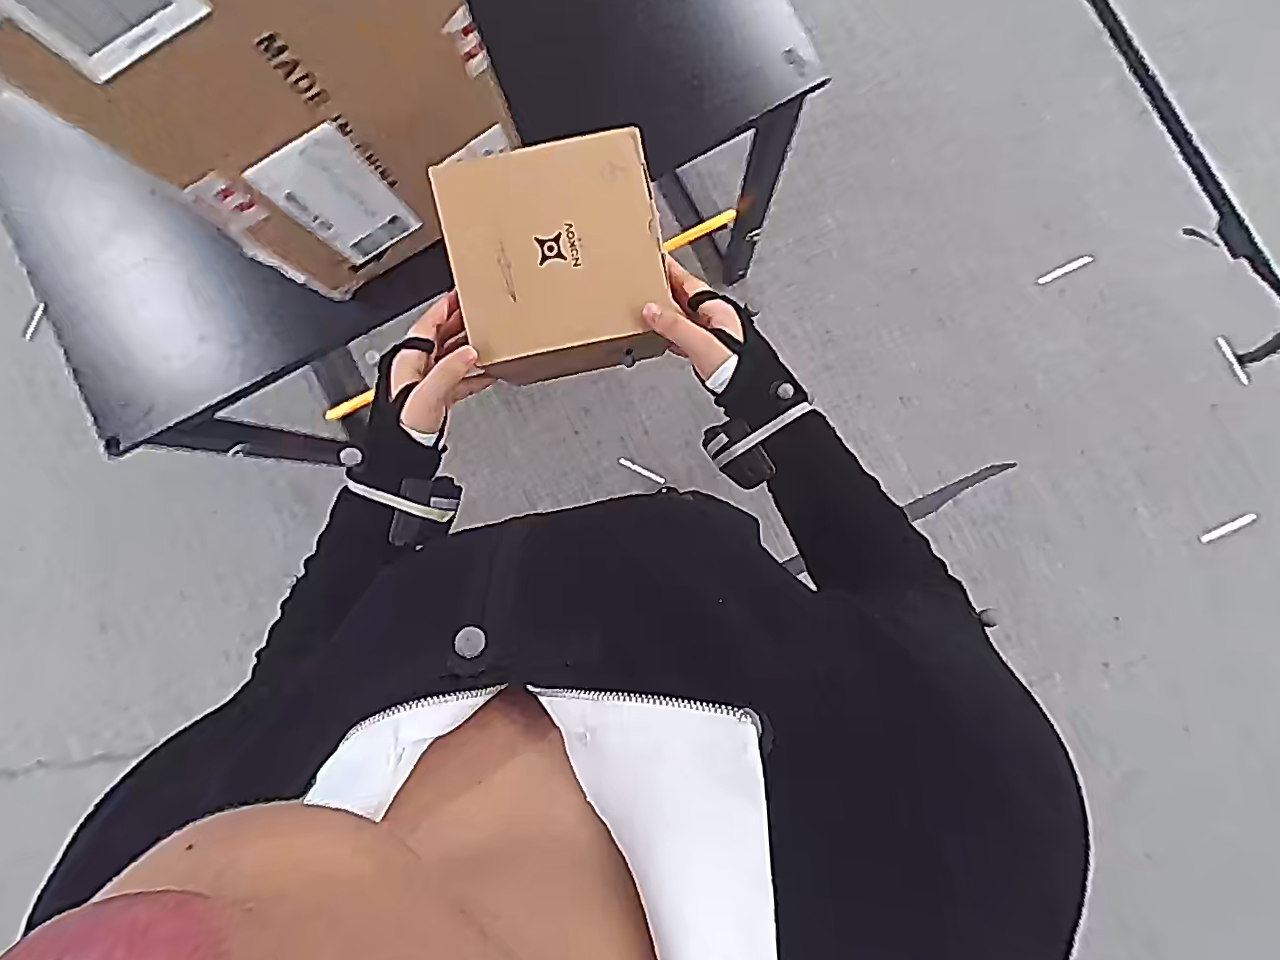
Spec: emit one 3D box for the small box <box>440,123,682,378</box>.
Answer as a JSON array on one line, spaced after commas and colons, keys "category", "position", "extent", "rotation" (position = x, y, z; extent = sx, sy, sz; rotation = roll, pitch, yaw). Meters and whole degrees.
[{"category": "small box", "position": [-0.067, -0.204, 0.528], "extent": [0.179, 0.176, 0.168], "rotation": [-12, 94, 0]}]
